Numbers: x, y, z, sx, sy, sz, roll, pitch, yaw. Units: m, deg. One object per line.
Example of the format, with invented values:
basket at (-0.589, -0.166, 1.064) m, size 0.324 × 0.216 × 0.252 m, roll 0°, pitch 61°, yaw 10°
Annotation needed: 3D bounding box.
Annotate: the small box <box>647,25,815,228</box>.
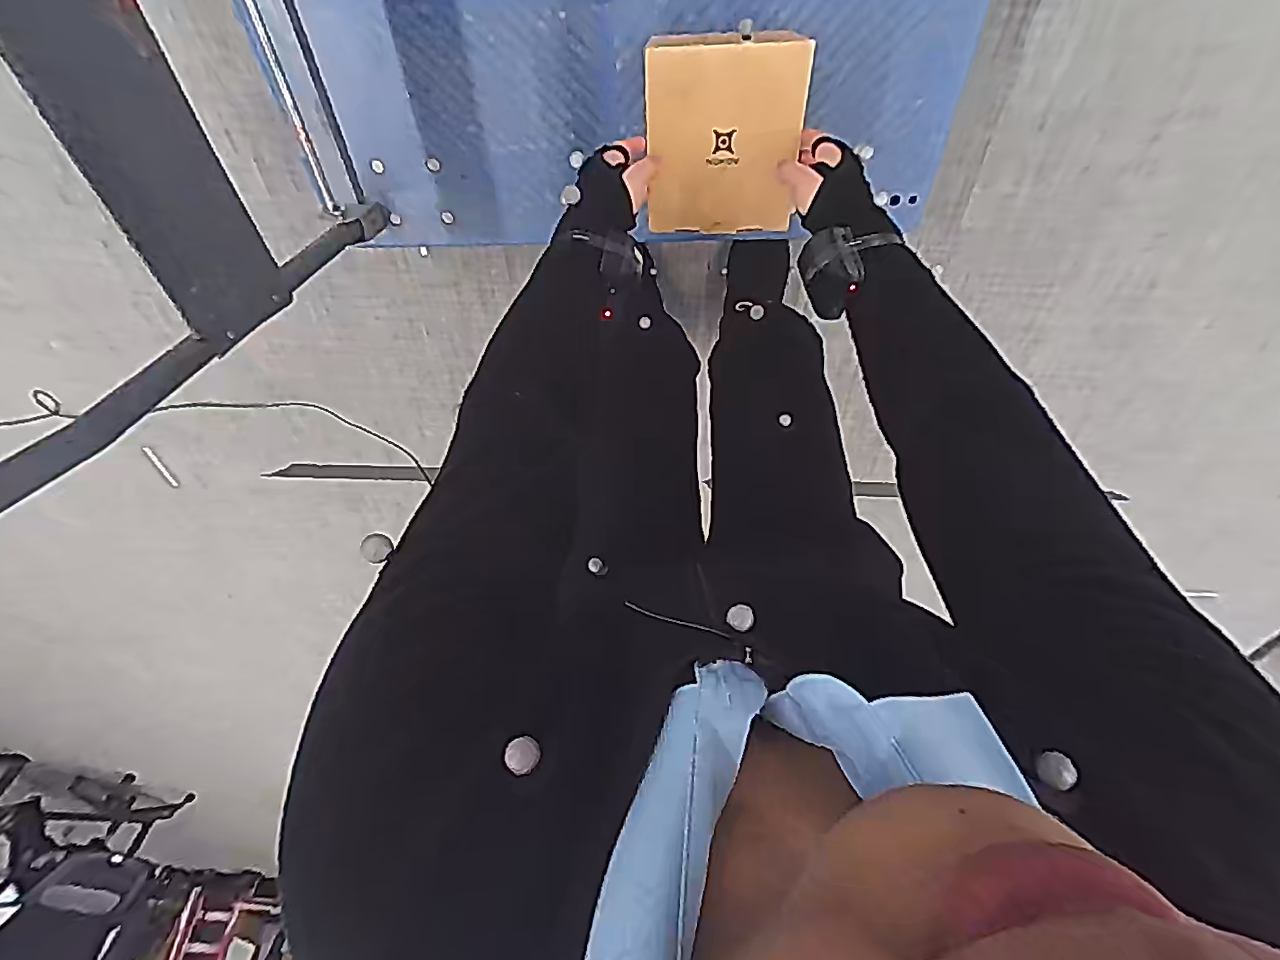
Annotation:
small box at (0.091, -0.412, 0.629) m, size 0.168 × 0.176 × 0.179 m, roll 0°, pitch 134°, yaw 4°
